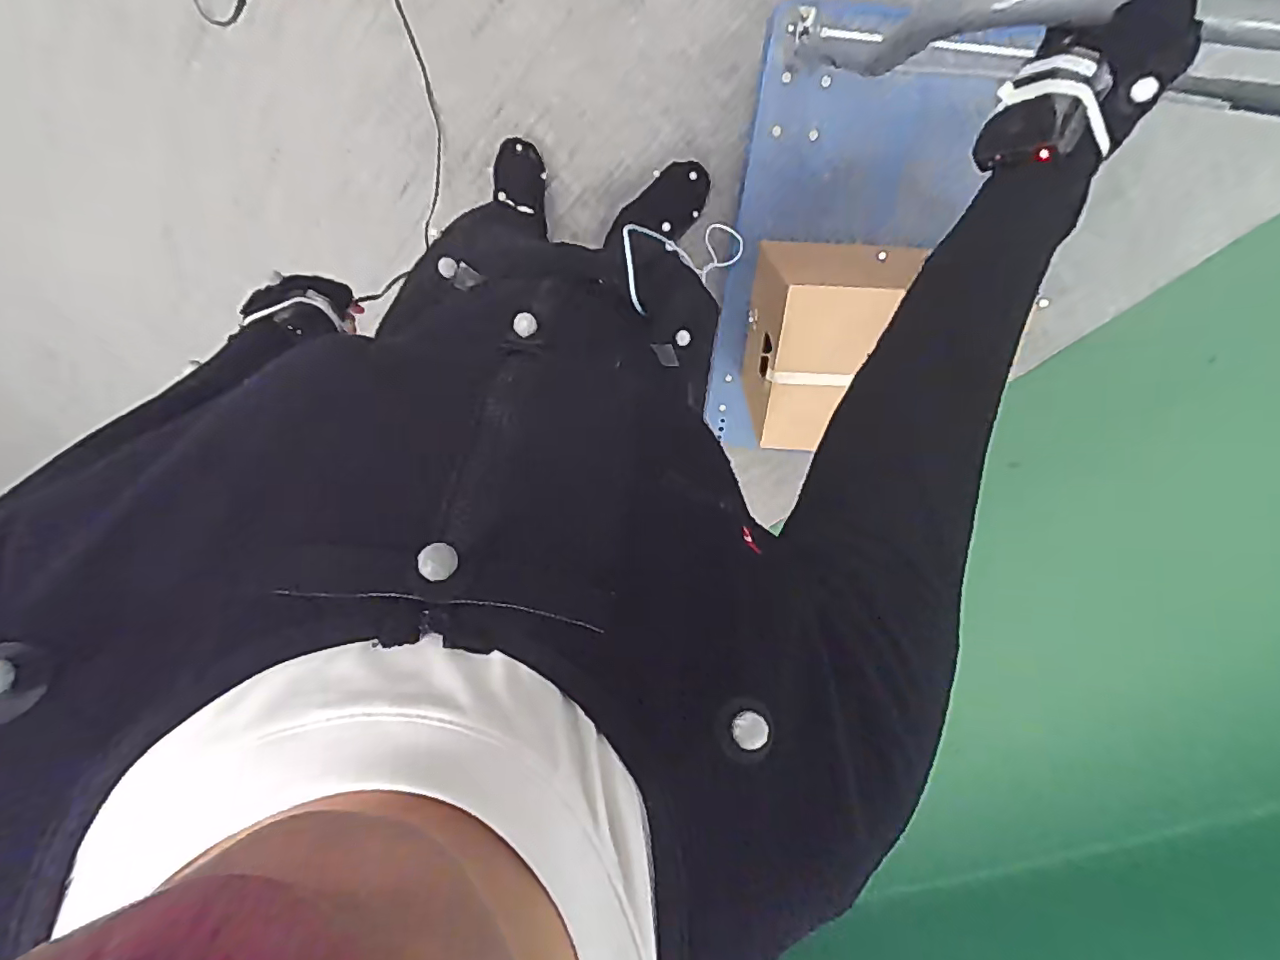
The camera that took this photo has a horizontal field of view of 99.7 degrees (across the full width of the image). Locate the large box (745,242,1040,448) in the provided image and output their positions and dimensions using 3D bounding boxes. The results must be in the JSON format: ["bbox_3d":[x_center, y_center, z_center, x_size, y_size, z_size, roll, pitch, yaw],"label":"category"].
[{"bbox_3d":[0.438,-0.274,1.065,0.408,0.320,0.320,1,127,0],"label":"large box"}]
